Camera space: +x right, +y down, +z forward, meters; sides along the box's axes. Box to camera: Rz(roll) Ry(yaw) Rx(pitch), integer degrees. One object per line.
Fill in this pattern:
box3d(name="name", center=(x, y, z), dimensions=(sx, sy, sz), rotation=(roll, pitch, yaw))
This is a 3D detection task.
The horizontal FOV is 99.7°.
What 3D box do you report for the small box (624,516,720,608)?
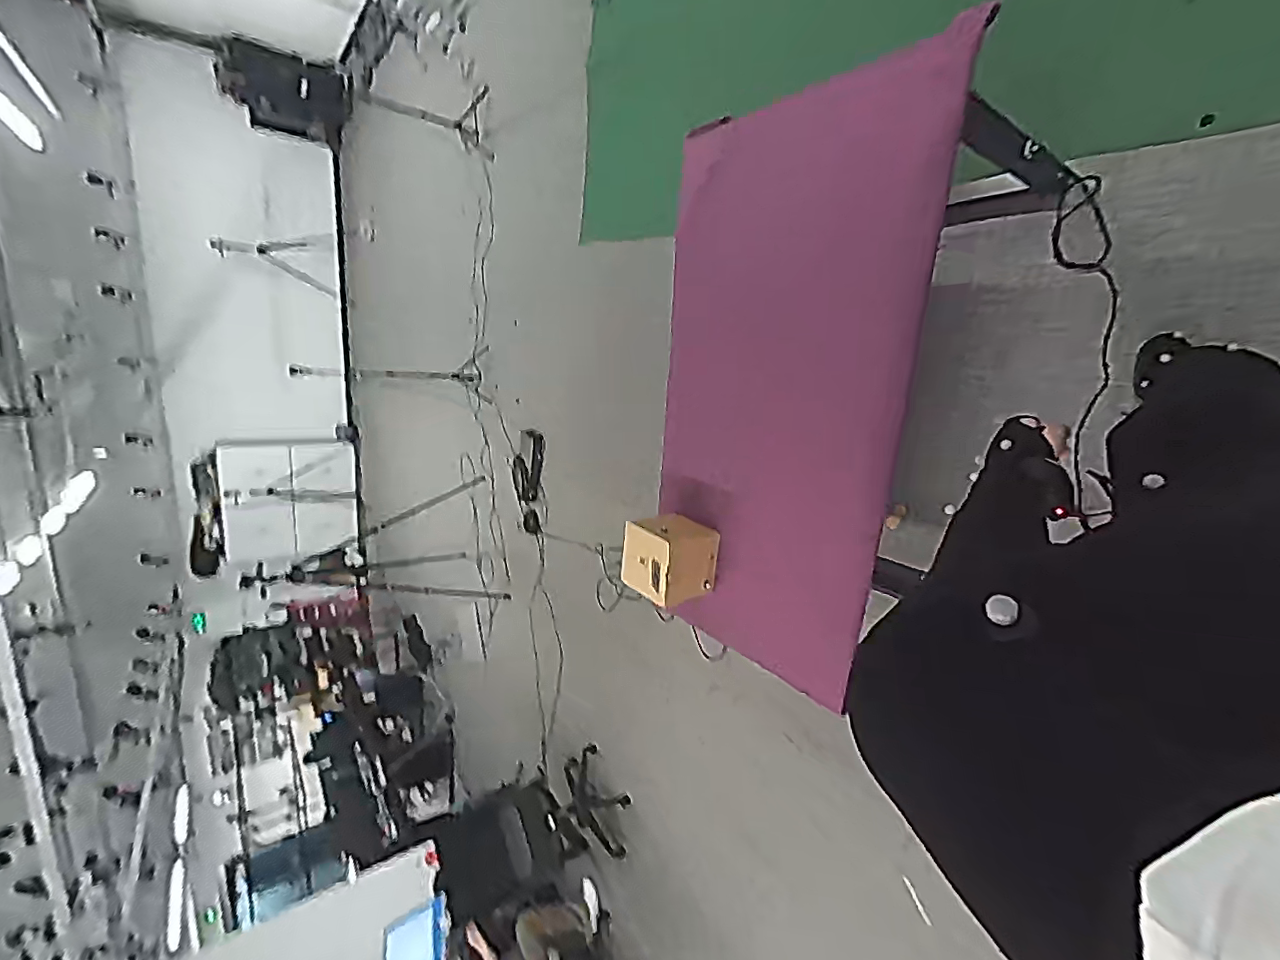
box3d(name="small box", center=(0.082, 0.198, 1.371), dimensions=(0.179, 0.176, 0.168), rotation=(21, 111, 48))
